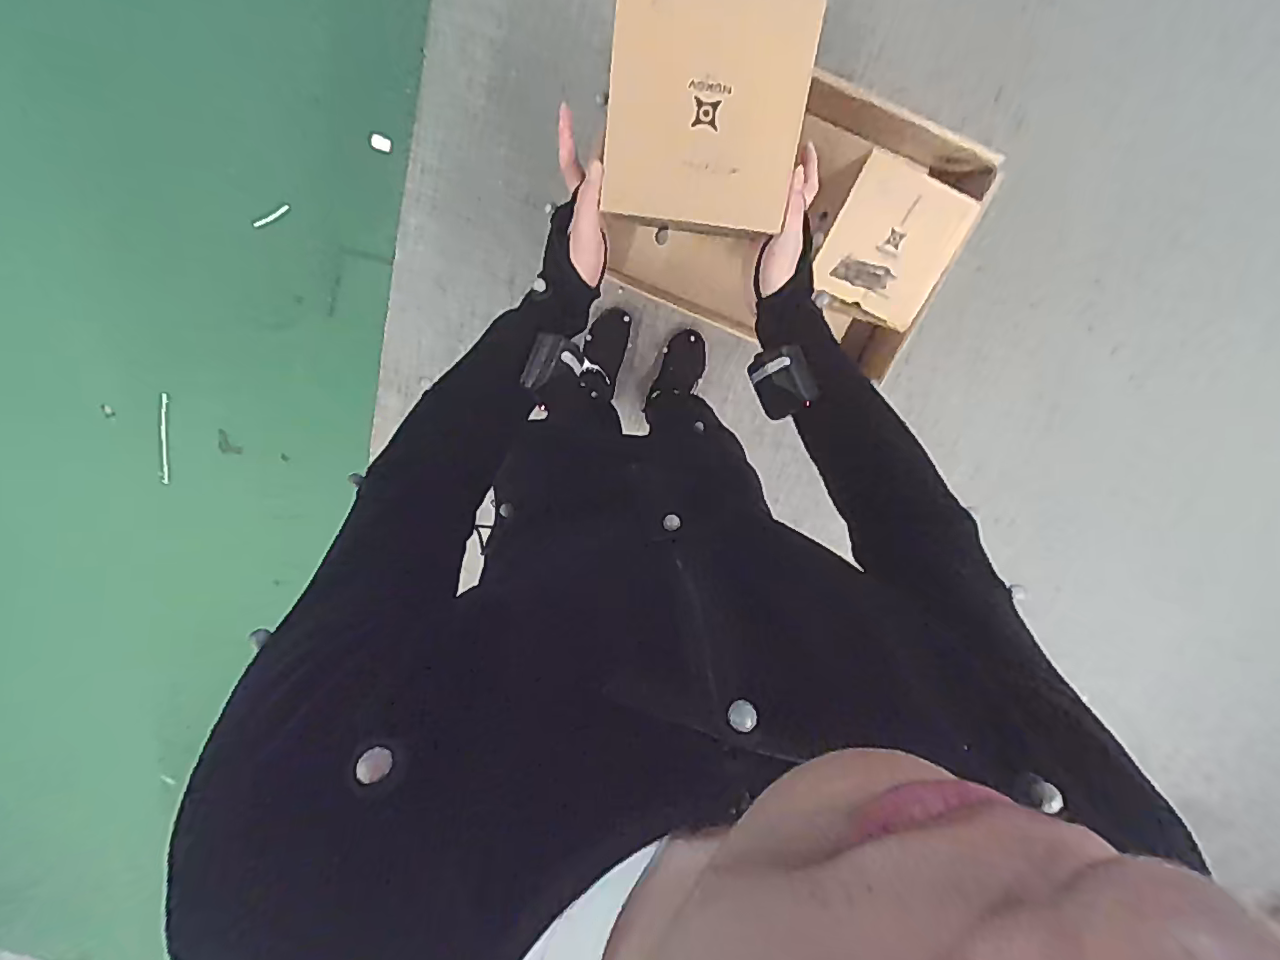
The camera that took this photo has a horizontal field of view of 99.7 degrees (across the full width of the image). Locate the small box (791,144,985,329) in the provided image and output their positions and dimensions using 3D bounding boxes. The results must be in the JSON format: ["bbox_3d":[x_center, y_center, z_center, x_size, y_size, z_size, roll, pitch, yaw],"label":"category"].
[{"bbox_3d":[0.335,-0.340,0.778,0.168,0.176,0.179,23,111,-5],"label":"small box"}]

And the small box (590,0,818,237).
[{"bbox_3d":[0.045,-0.335,0.508,0.168,0.176,0.179,6,112,-3],"label":"small box"}]
